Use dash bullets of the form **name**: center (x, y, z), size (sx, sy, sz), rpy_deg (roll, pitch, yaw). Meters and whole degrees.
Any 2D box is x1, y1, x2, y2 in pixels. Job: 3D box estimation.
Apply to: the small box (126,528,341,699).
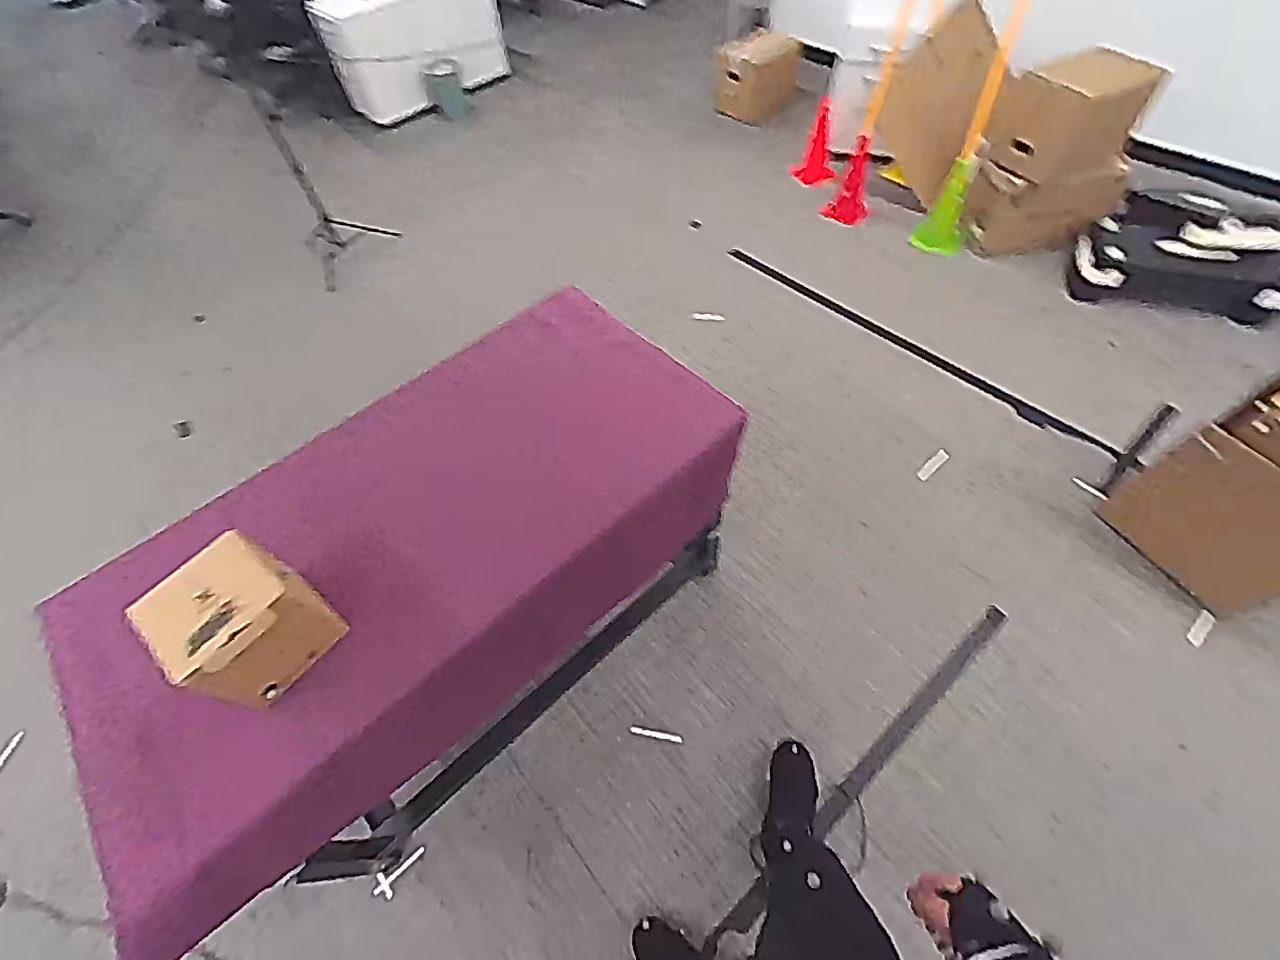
- **small box**: center (-0.607, 0.212, 0.830), size (0.179, 0.176, 0.168), rpy_deg (32, 64, 24)
